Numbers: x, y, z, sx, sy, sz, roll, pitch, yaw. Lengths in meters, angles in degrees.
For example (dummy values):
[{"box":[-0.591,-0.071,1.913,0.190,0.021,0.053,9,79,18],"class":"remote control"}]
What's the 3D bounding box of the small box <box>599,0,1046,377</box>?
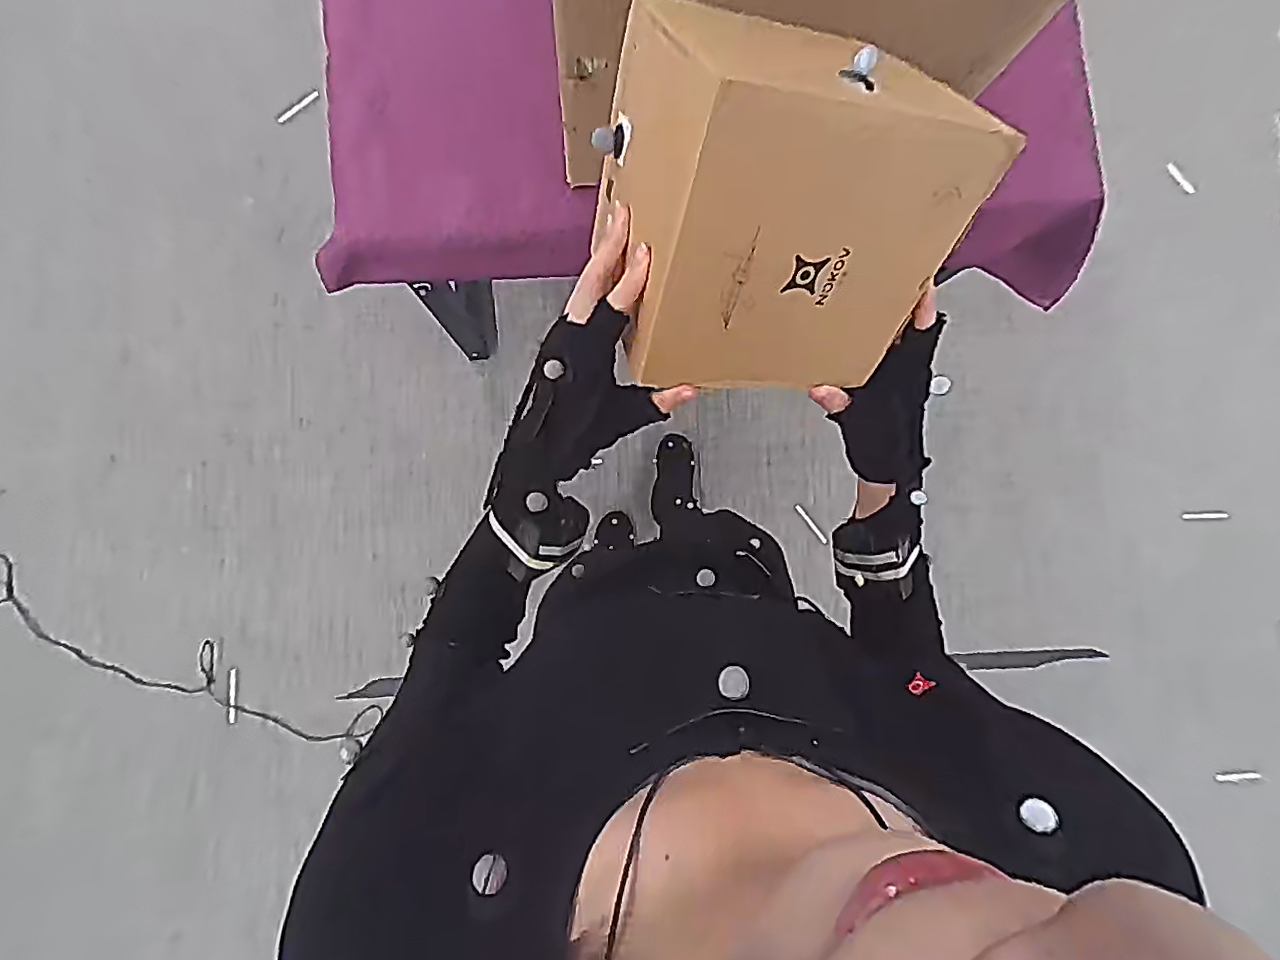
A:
[{"box":[0.083,-0.183,0.343,0.179,0.168,0.176,-3,50,-17],"class":"small box"}]
